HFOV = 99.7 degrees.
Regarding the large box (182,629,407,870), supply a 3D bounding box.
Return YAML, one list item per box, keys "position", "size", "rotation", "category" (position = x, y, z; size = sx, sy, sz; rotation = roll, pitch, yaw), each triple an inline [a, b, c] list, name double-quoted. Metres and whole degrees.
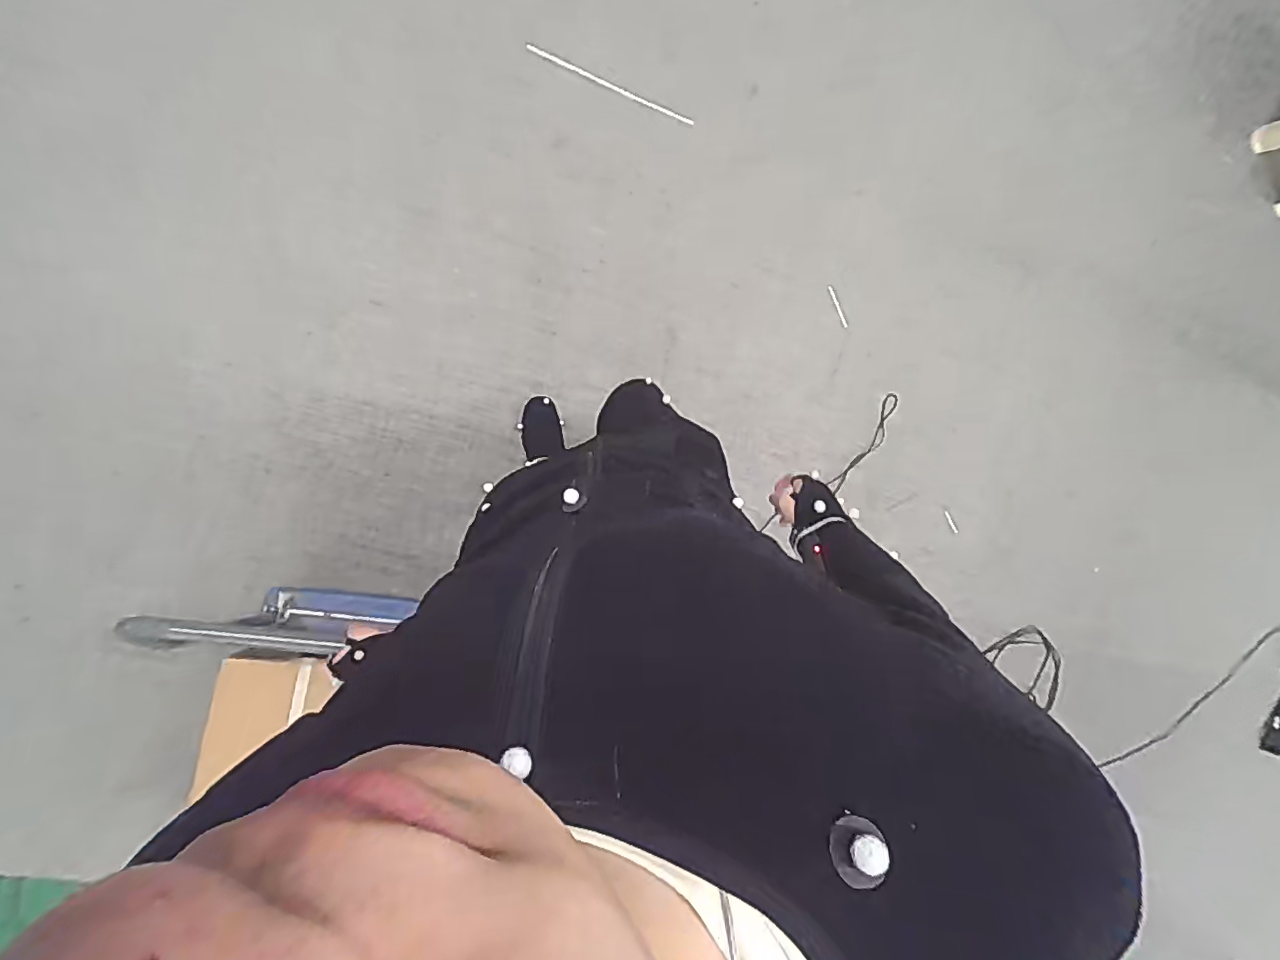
- position: [-0.736, 0.572, 1.219]
  size: [0.320, 0.320, 0.408]
  rotation: [10, 83, -14]
  category: "large box"
